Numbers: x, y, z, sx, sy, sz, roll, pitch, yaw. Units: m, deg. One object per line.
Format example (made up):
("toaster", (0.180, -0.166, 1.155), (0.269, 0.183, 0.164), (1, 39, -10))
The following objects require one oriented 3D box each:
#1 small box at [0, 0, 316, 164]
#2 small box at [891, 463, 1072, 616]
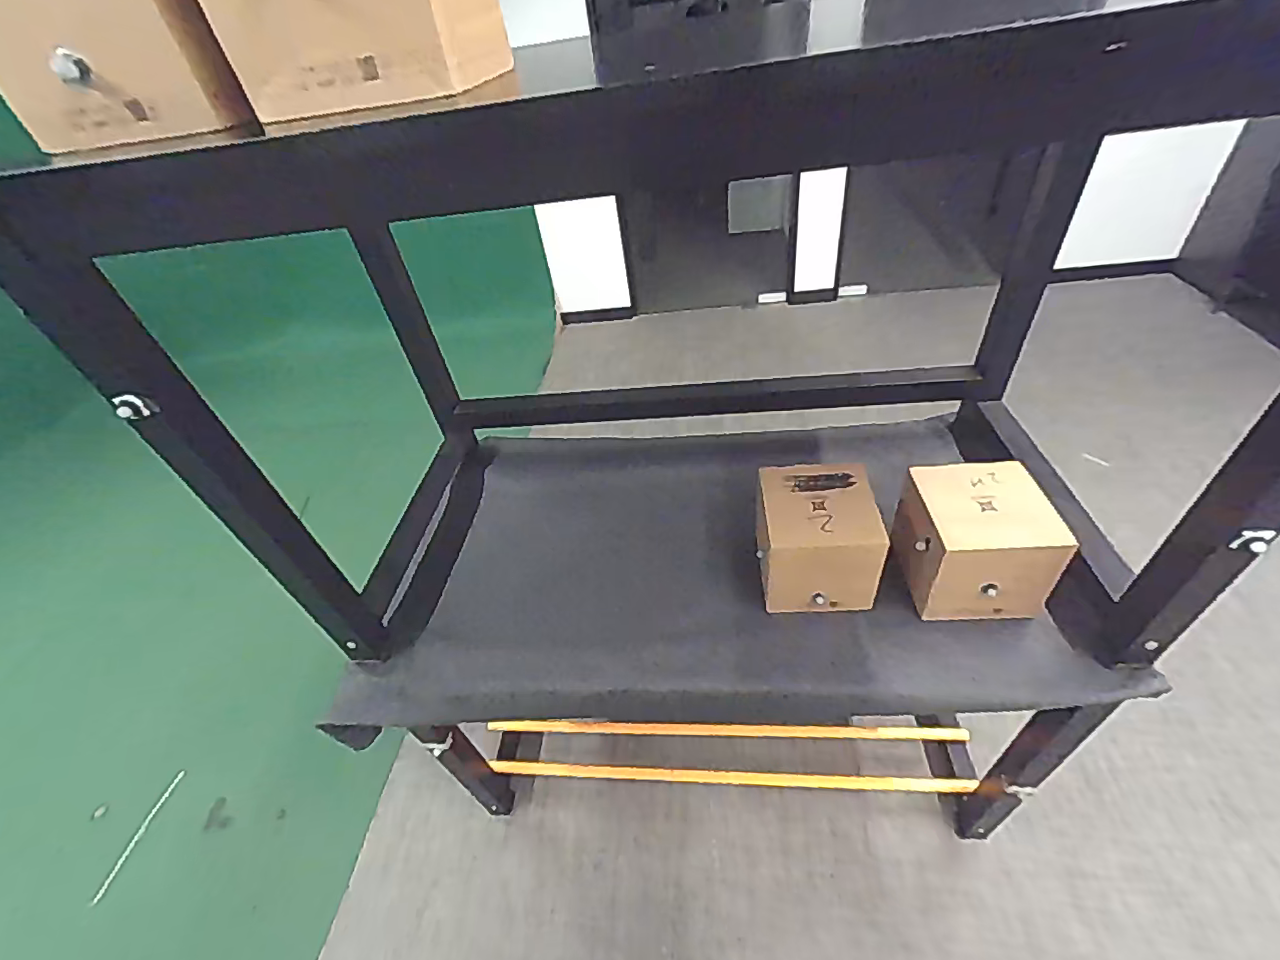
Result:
("small box", (-0.415, -0.382, 0.454), (0.168, 0.176, 0.179), (-3, 43, 8))
("small box", (0.508, 0.097, 0.837), (0.168, 0.176, 0.179), (-4, 40, 7))
